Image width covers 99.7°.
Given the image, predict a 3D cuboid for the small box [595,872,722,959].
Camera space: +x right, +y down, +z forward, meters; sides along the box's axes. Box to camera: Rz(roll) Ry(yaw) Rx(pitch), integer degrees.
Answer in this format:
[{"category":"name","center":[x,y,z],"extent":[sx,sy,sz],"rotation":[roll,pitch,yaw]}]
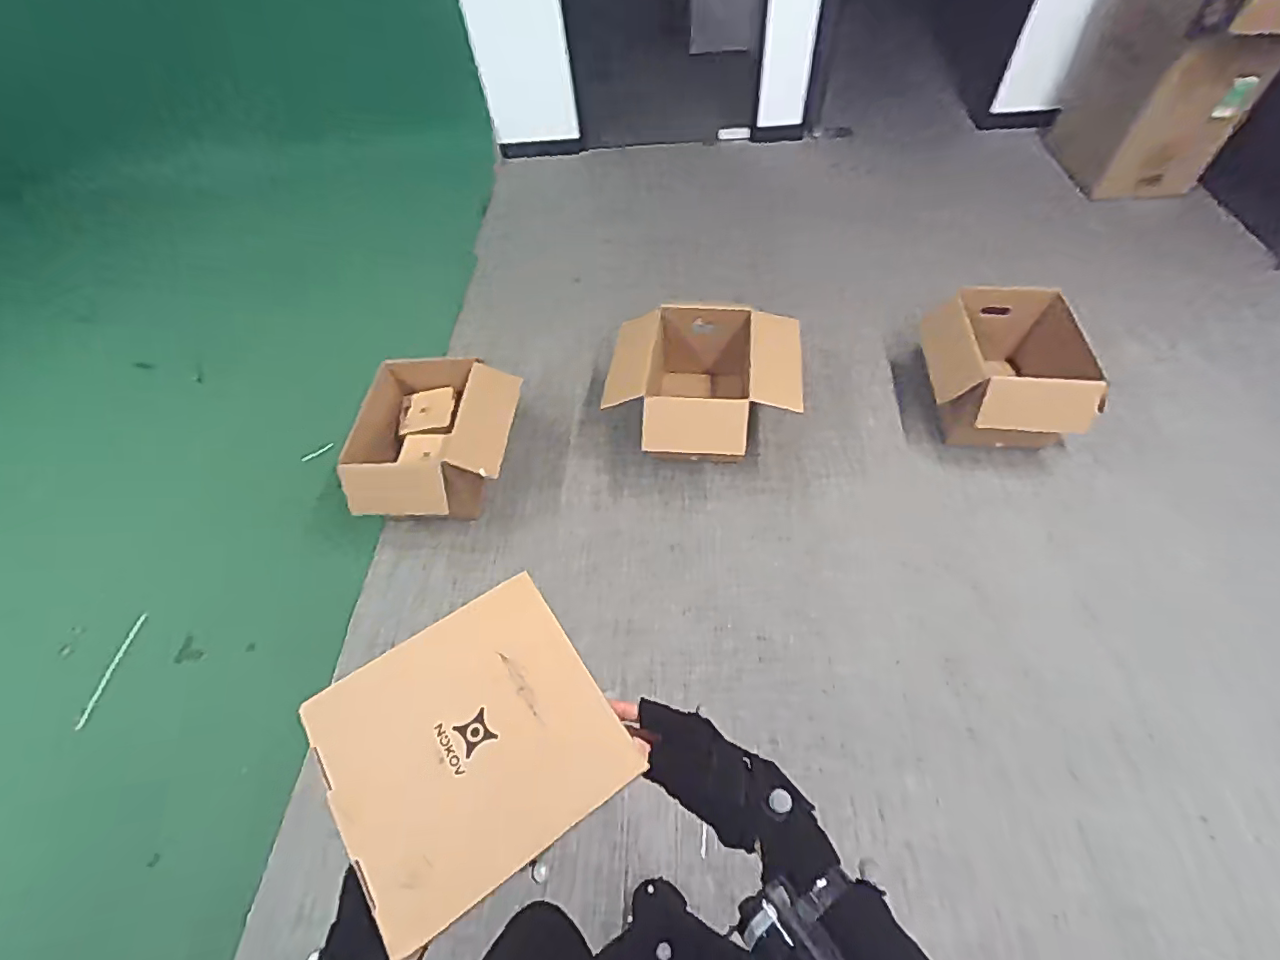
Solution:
[{"category":"small box","center":[0.044,0.925,1.041],"extent":[0.168,0.176,0.179],"rotation":[1,26,39]}]

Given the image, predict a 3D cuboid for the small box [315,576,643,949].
[{"category":"small box","center":[-0.112,0.213,0.434],"extent":[0.179,0.176,0.168],"rotation":[-29,65,-18]}]
